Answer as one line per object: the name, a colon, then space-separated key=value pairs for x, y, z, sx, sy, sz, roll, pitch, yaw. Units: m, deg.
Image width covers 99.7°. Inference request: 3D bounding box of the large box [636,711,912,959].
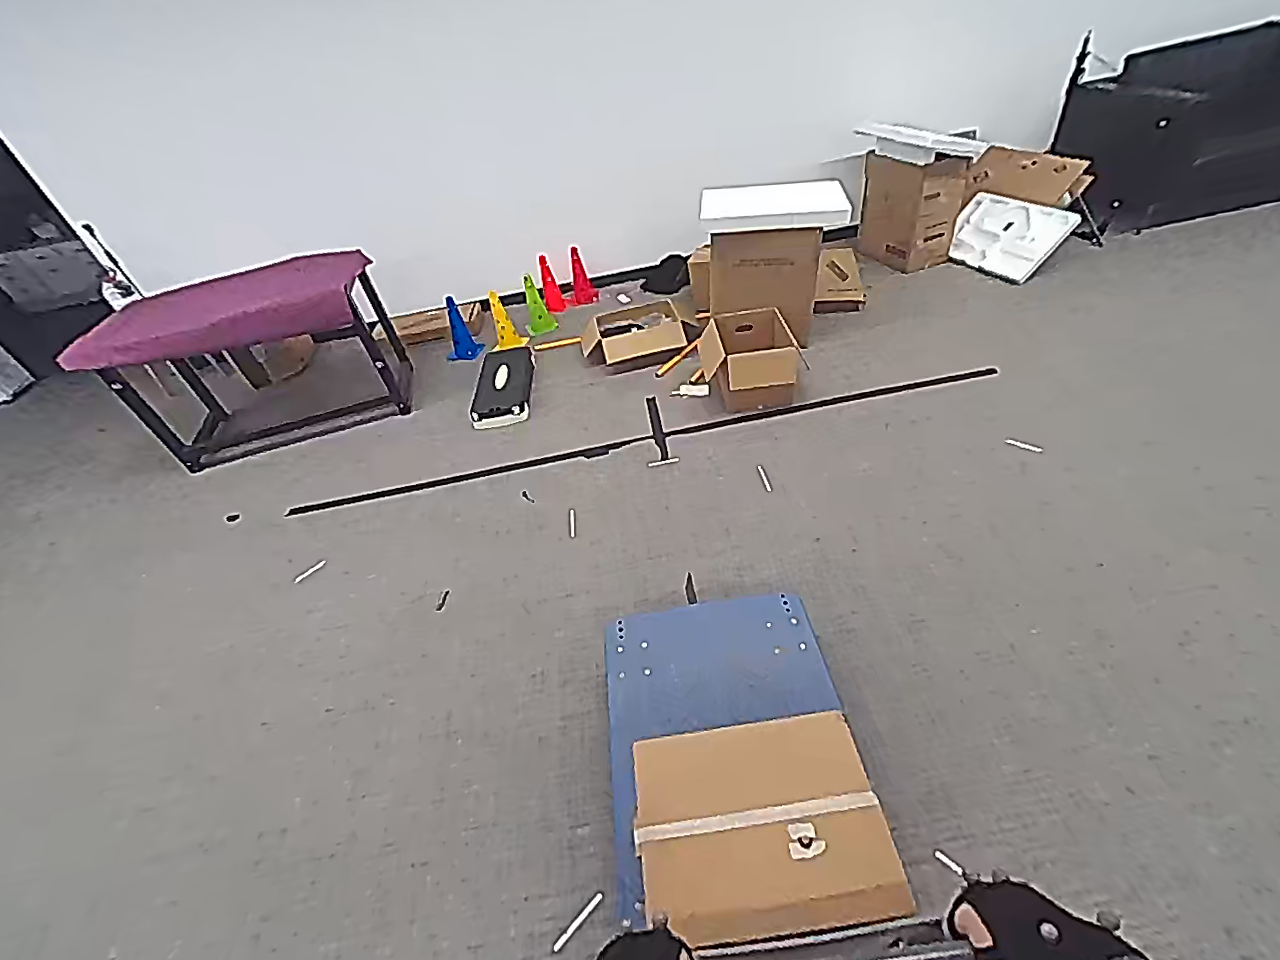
large box: x=0.219 y=0.687 z=1.023 sx=0.408 sy=0.320 sz=0.320 roll=-9 pitch=42 yaw=0
